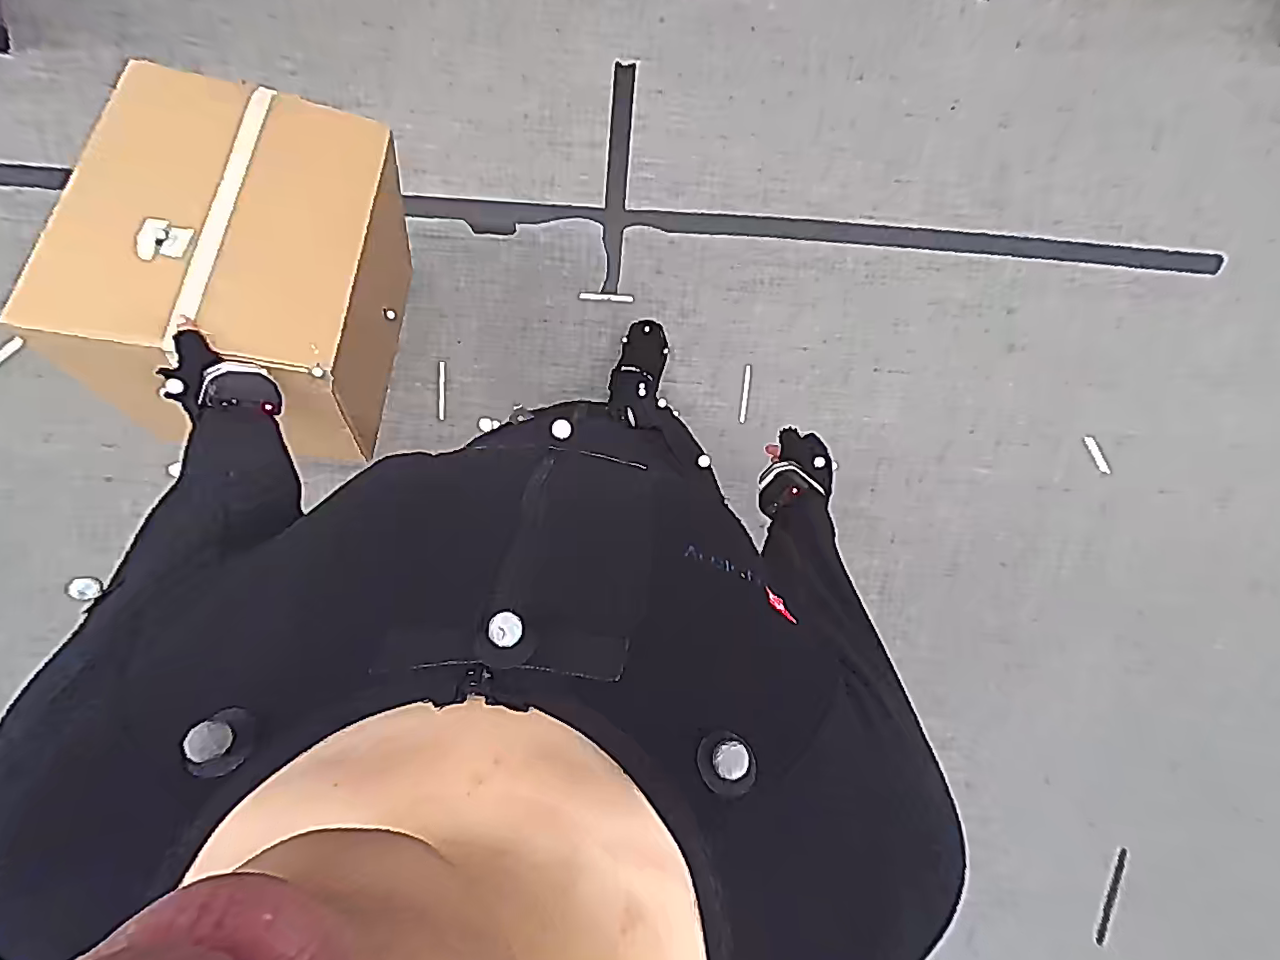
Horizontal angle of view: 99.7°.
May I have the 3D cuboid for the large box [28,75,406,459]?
[{"bbox_3d":[-0.556,-0.284,0.819,0.320,0.320,0.408,7,70,-15],"label":"large box"}]
